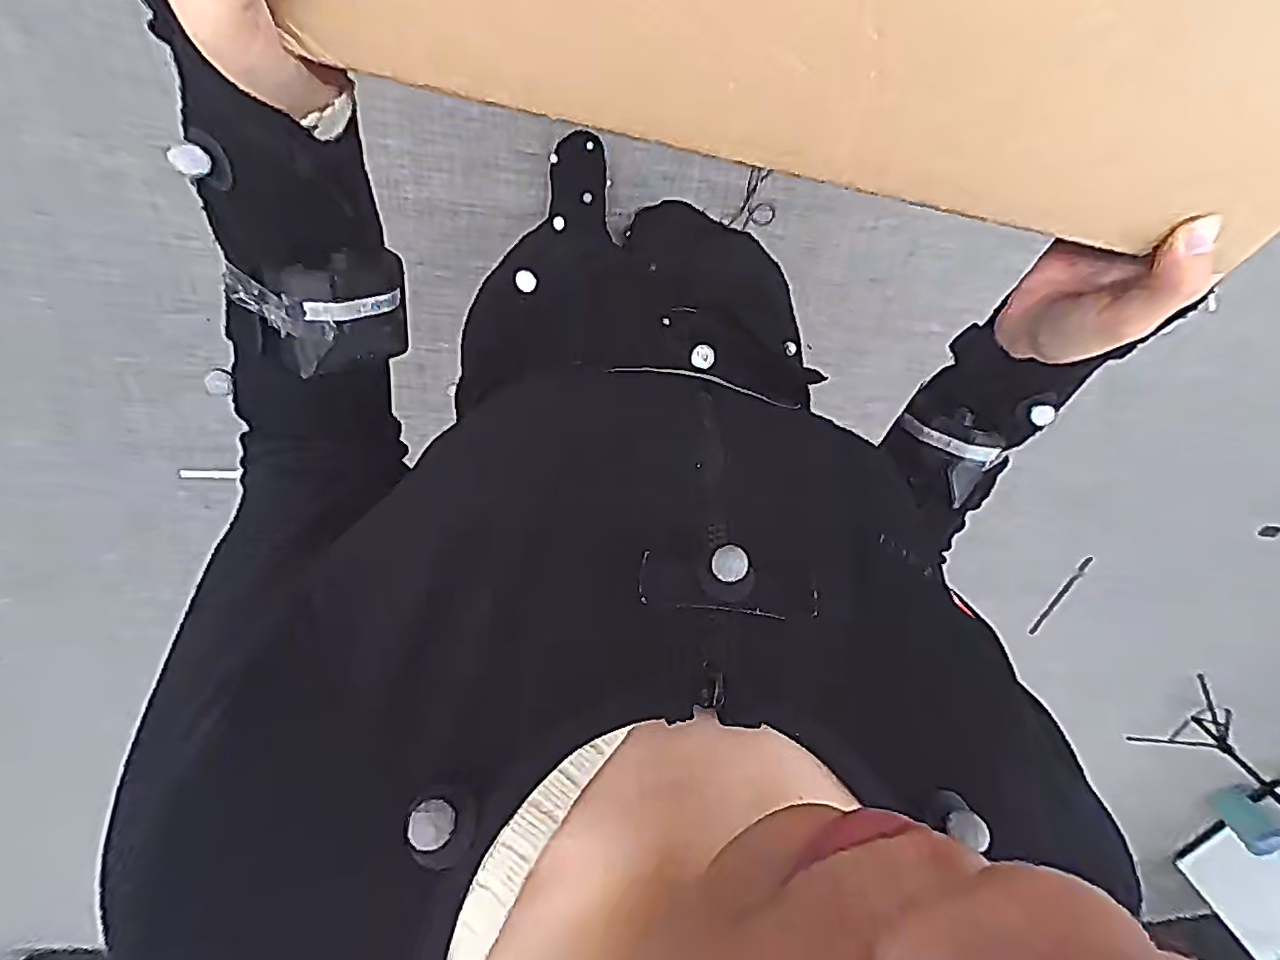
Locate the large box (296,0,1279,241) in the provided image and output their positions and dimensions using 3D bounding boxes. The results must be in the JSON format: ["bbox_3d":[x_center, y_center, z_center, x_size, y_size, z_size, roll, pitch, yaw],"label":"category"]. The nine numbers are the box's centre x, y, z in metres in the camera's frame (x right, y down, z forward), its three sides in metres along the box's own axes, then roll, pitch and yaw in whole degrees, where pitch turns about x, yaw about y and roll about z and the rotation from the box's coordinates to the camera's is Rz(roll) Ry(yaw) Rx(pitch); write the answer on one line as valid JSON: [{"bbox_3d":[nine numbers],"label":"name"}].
[{"bbox_3d":[0.100,-0.340,0.198,0.408,0.320,0.320,7,143,-8],"label":"large box"}]
